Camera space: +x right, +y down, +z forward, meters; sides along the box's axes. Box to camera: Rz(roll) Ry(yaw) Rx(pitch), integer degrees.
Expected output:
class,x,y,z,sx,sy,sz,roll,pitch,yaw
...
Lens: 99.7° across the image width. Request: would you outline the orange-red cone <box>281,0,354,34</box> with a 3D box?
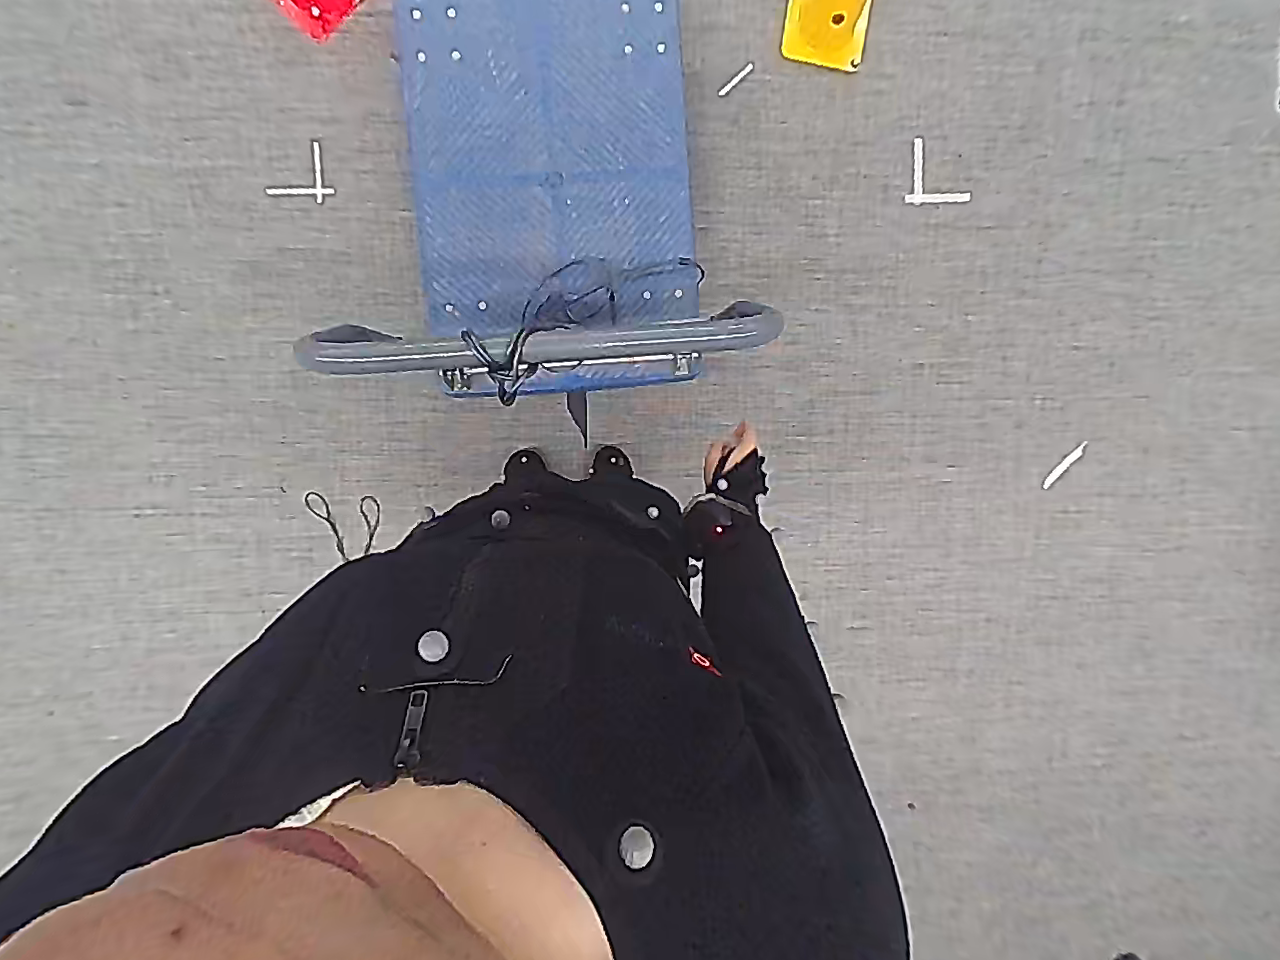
class,x,y,z,sx,sy,sz,roll,pitch,yaw
orange-red cone,-0.716,-1.117,1.039,0.198,0.360,0.199,45,90,-8
